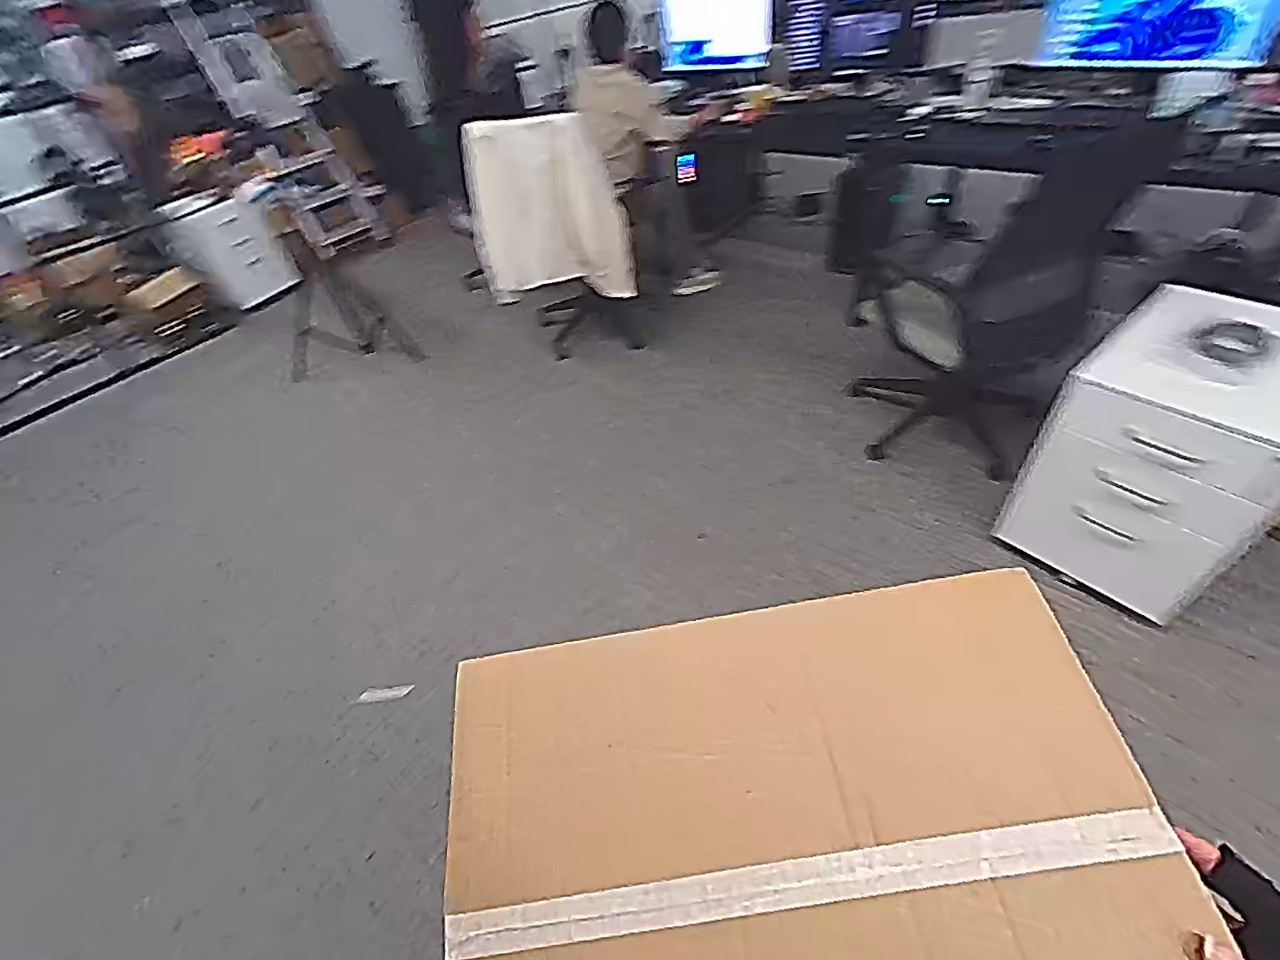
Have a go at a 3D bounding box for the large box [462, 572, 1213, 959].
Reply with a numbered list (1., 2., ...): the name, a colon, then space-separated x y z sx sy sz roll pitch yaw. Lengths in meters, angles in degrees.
1. large box: 0.107 0.311 0.438 0.408 0.320 0.320 -12 59 2
